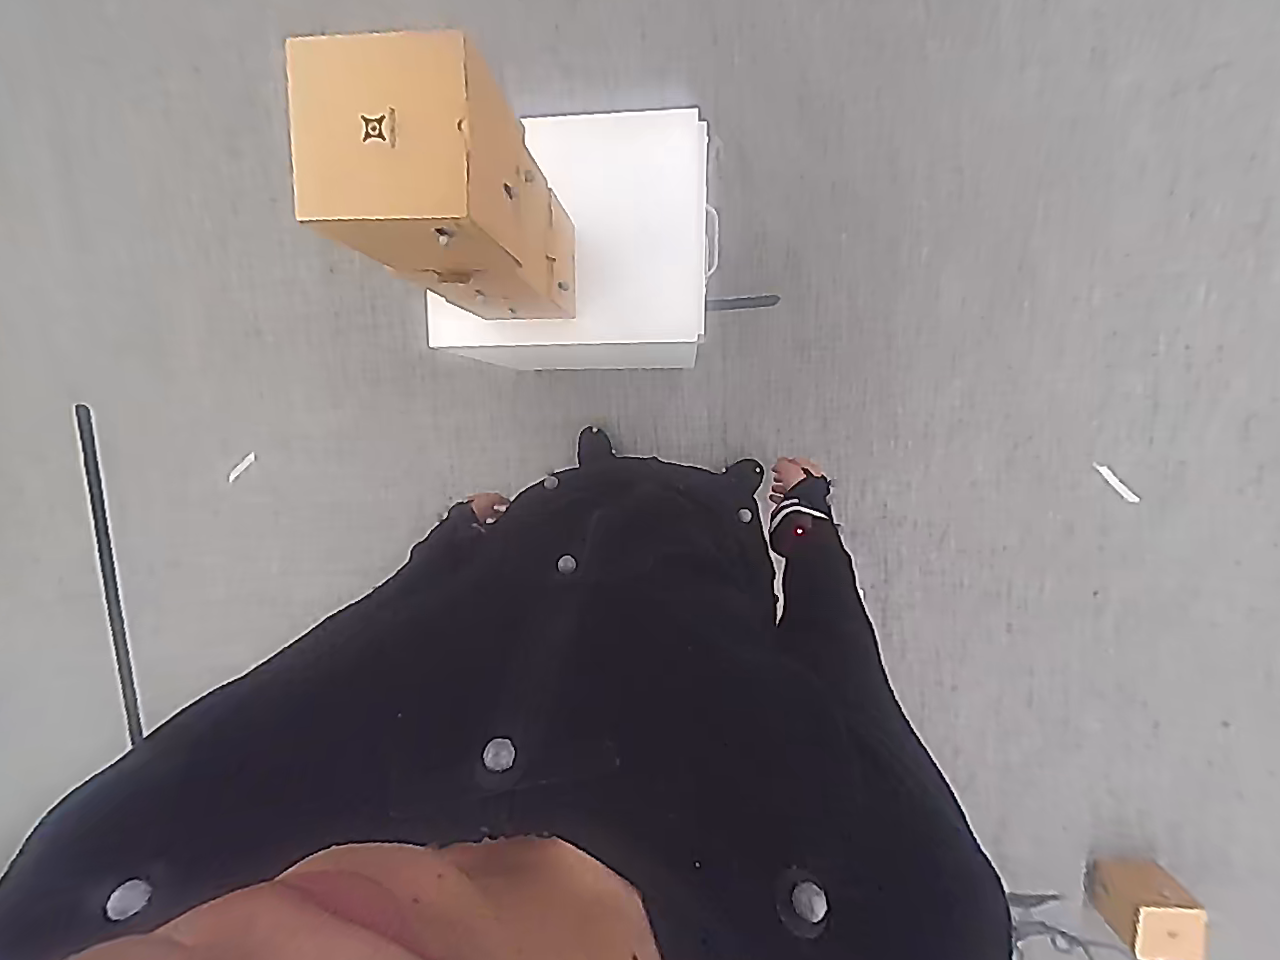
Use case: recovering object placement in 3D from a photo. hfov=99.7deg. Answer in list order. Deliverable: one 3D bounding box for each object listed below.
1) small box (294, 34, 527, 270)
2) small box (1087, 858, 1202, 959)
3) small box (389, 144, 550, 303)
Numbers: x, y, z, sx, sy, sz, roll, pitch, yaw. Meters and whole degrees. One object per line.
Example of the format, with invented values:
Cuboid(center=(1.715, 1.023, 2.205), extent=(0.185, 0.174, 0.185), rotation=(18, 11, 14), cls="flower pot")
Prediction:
Cuboid(center=(-0.232, -0.333, 0.584), extent=(0.179, 0.176, 0.168), rotation=(1, 96, 4), cls="small box")
Cuboid(center=(1.465, 1.245, 1.579), extent=(0.179, 0.176, 0.168), rotation=(-1, 97, 5), cls="small box")
Cuboid(center=(-0.226, -0.354, 0.746), extent=(0.168, 0.176, 0.179), rotation=(2, 97, 6), cls="small box")
